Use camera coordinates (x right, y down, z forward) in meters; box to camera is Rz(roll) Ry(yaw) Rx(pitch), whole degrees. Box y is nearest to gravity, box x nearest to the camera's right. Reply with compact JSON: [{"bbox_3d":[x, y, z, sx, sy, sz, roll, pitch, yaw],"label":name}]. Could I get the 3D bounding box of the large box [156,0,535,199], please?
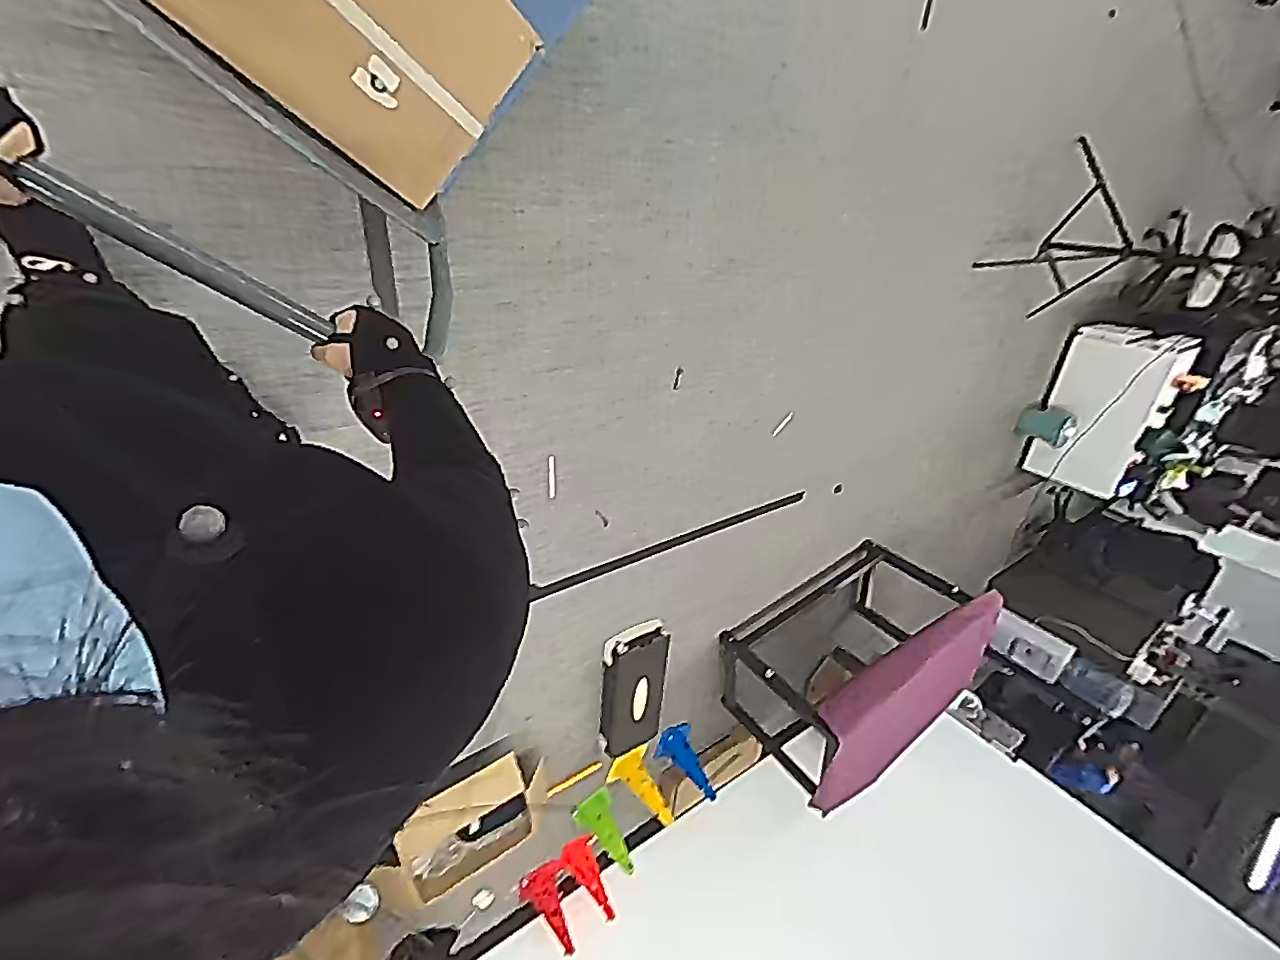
[{"bbox_3d":[-0.436,-0.727,0.806,0.320,0.320,0.408,-42,137,18],"label":"large box"}]
